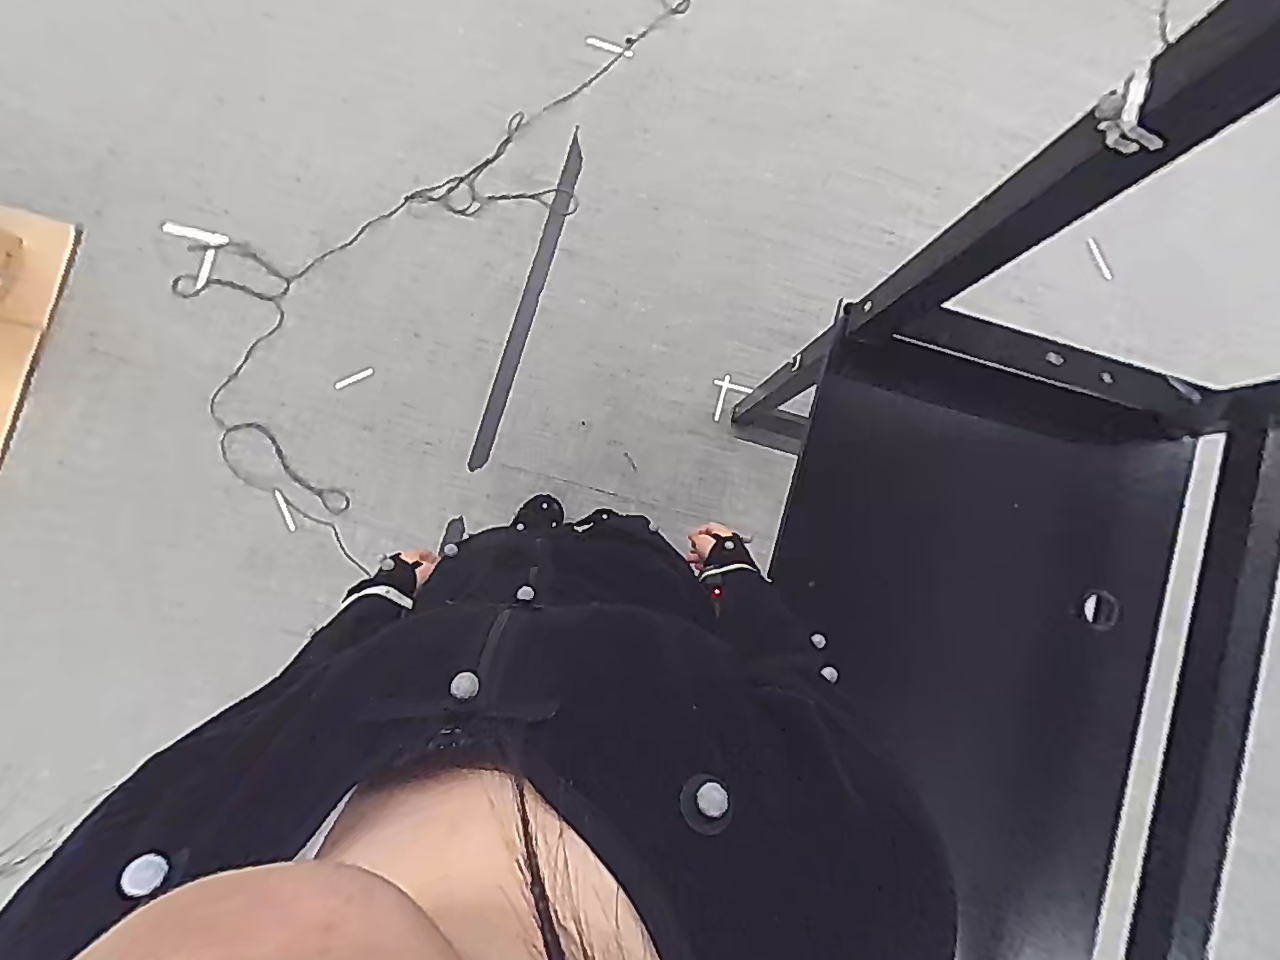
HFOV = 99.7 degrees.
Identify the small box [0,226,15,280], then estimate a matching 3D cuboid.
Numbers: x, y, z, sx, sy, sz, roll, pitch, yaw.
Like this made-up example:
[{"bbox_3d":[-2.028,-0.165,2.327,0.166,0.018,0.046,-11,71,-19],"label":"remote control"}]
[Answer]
[{"bbox_3d":[-1.725,-0.590,1.329,0.179,0.176,0.168,11,86,-3],"label":"small box"}]
